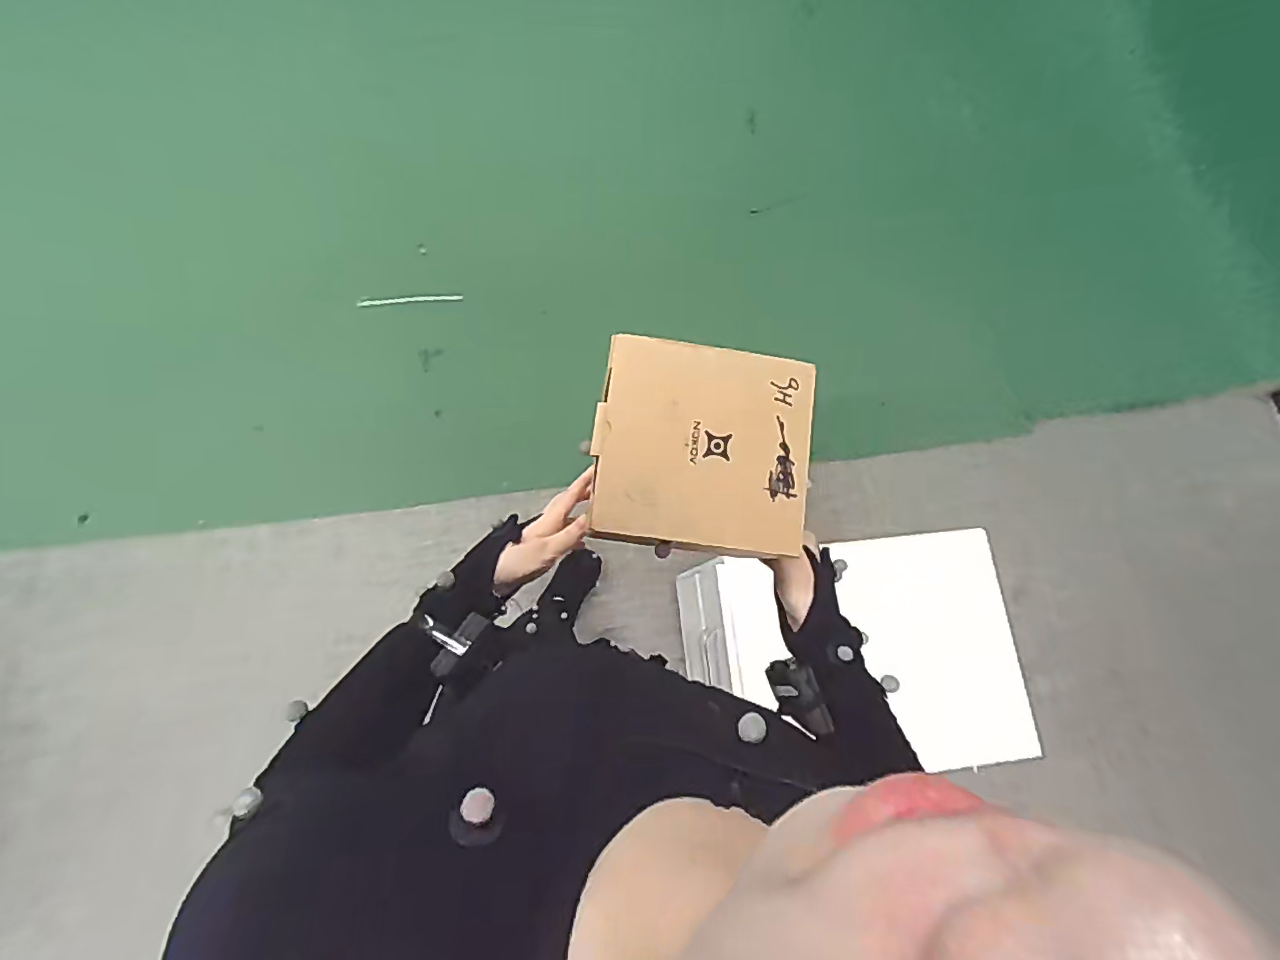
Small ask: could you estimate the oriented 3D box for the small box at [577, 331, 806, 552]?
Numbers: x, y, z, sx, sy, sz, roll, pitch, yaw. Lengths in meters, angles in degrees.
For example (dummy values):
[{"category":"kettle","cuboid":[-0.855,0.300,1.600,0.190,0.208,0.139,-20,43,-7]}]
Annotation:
[{"category":"small box","cuboid":[0.039,-0.022,0.515,0.179,0.176,0.168,7,82,-4]}]
